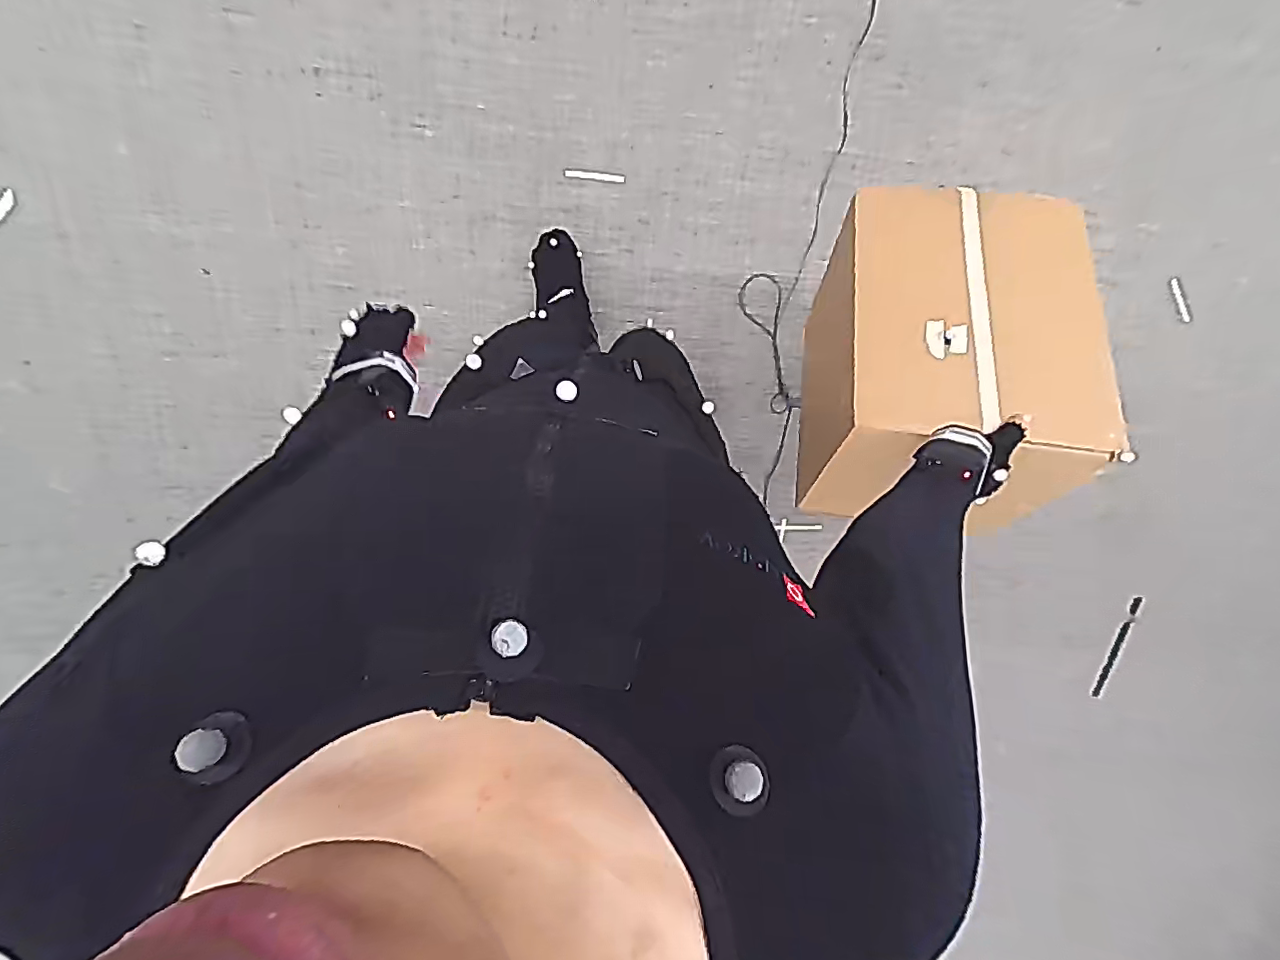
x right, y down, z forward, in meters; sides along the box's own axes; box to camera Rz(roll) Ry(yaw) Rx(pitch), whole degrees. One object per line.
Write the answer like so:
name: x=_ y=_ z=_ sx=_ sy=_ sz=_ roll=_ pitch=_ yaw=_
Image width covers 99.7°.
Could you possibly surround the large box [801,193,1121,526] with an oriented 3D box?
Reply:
large box: x=0.452 y=-0.174 z=0.864 sx=0.320 sy=0.320 sz=0.408 roll=7 pitch=69 yaw=5
